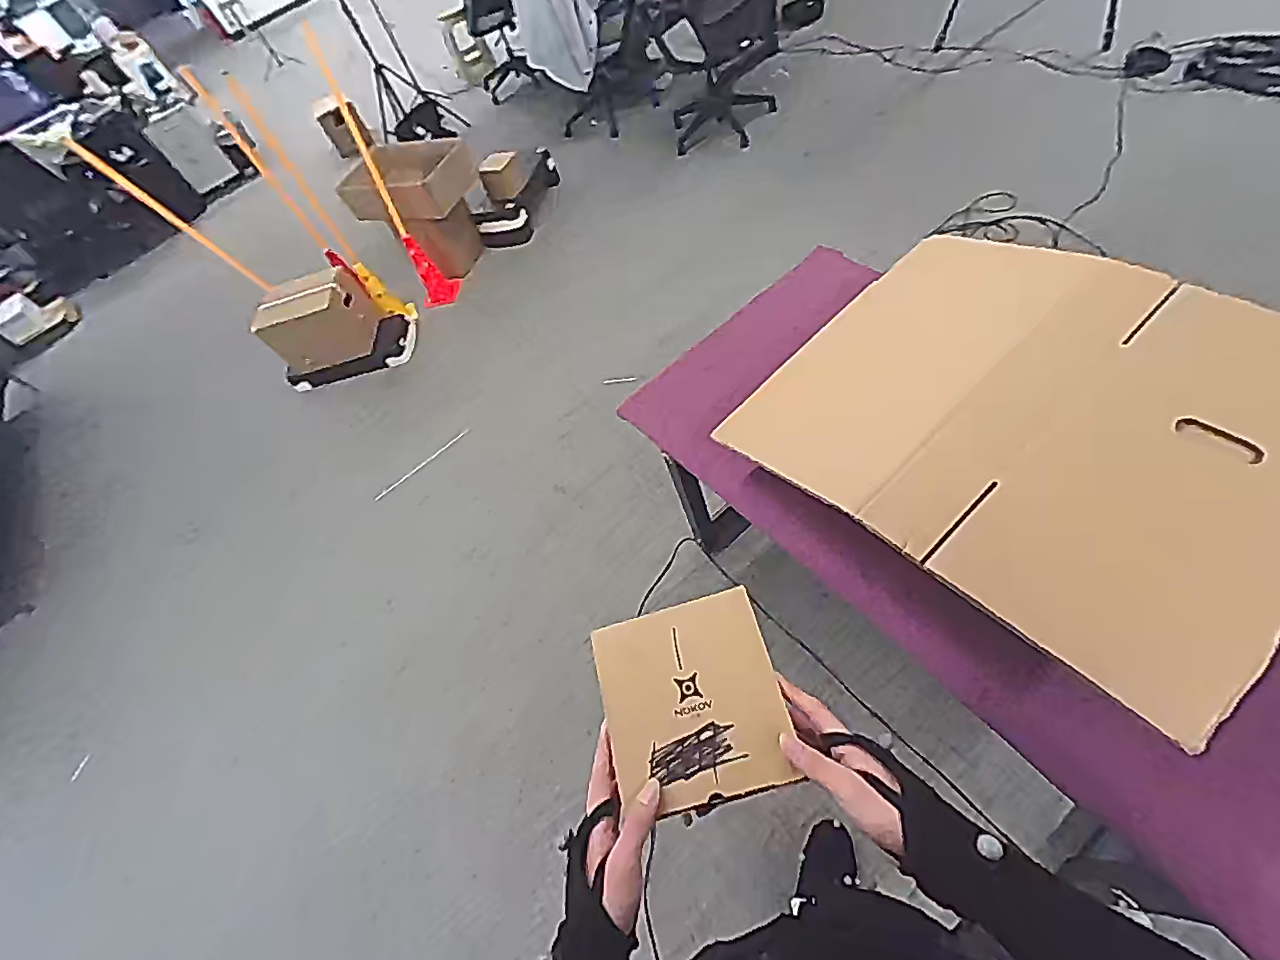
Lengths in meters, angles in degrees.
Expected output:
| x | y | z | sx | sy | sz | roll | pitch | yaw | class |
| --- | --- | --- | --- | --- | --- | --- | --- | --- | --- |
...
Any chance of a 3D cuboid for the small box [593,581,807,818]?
| x | y | z | sx | sy | sz | roll | pitch | yaw | class |
| --- | --- | --- | --- | --- | --- | --- | --- | --- | --- |
| 0.064 | 0.230 | 0.564 | 0.168 | 0.176 | 0.179 | -17 | 59 | 5 | small box |
